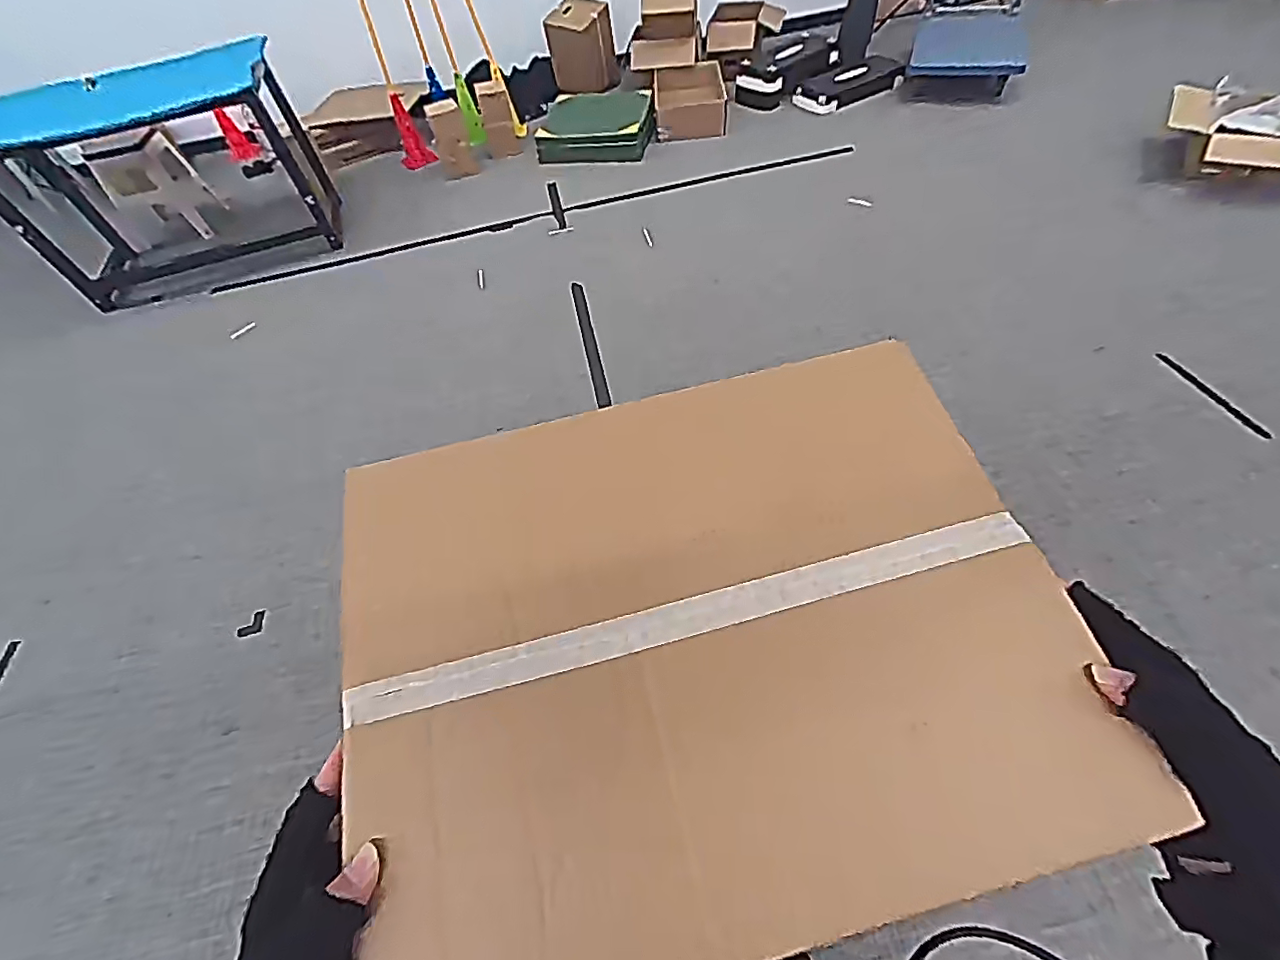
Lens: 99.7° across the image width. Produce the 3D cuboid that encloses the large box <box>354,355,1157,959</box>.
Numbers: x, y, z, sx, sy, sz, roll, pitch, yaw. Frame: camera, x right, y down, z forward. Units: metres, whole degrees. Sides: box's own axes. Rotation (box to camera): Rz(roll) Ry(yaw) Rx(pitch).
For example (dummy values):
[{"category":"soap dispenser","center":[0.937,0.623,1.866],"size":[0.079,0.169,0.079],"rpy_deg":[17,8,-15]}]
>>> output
[{"category":"large box","center":[0.042,0.153,0.453],"size":[0.408,0.320,0.320],"rpy_deg":[-14,63,-3]}]
